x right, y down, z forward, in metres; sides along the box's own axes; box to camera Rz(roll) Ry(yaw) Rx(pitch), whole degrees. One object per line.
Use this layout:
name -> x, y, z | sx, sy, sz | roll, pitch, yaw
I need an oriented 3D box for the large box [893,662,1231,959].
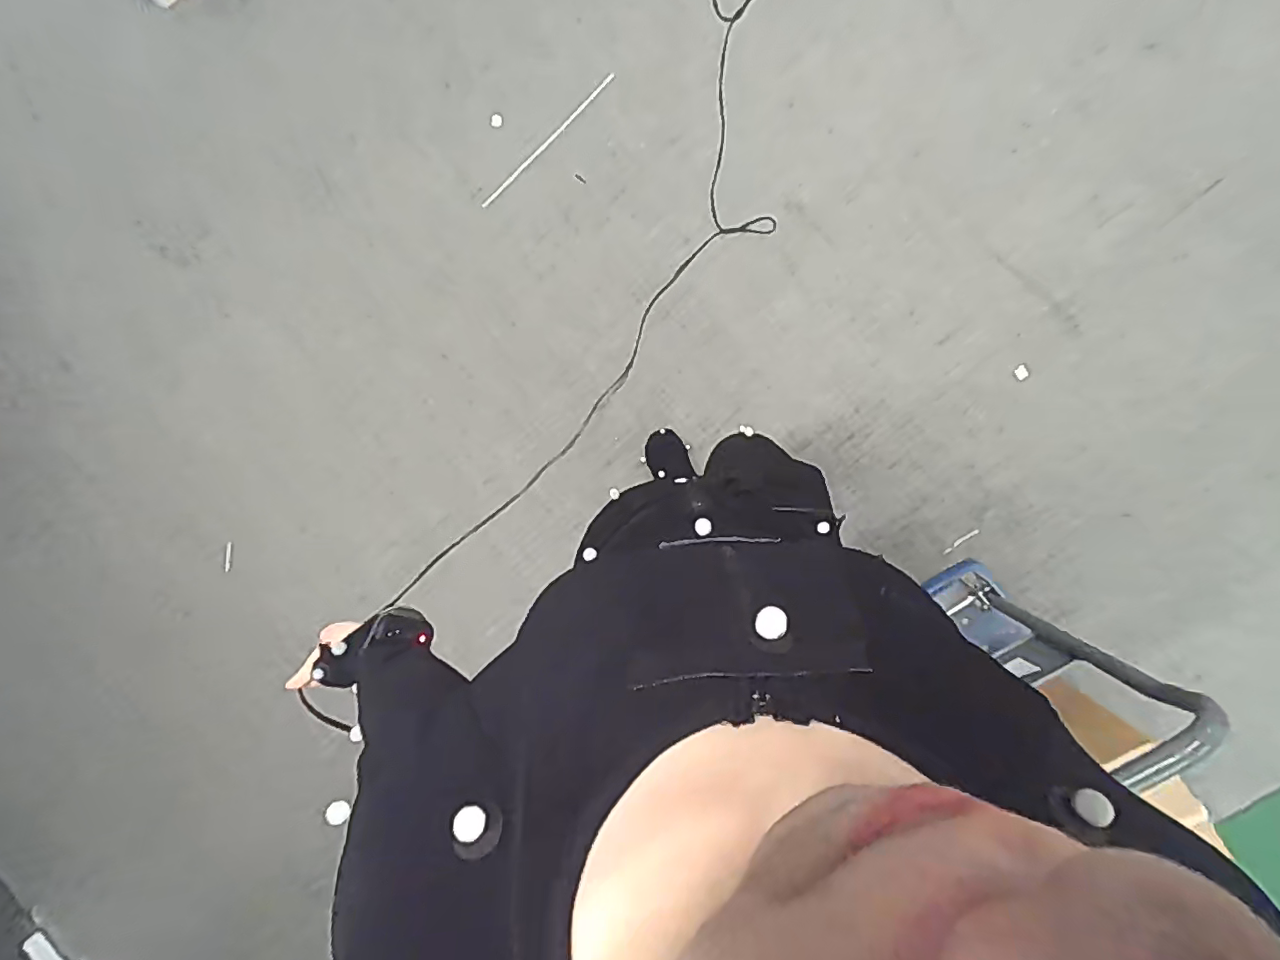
large box -> 0.838, 0.666, 1.144 | 0.408, 0.320, 0.320 | -34, 89, 9
